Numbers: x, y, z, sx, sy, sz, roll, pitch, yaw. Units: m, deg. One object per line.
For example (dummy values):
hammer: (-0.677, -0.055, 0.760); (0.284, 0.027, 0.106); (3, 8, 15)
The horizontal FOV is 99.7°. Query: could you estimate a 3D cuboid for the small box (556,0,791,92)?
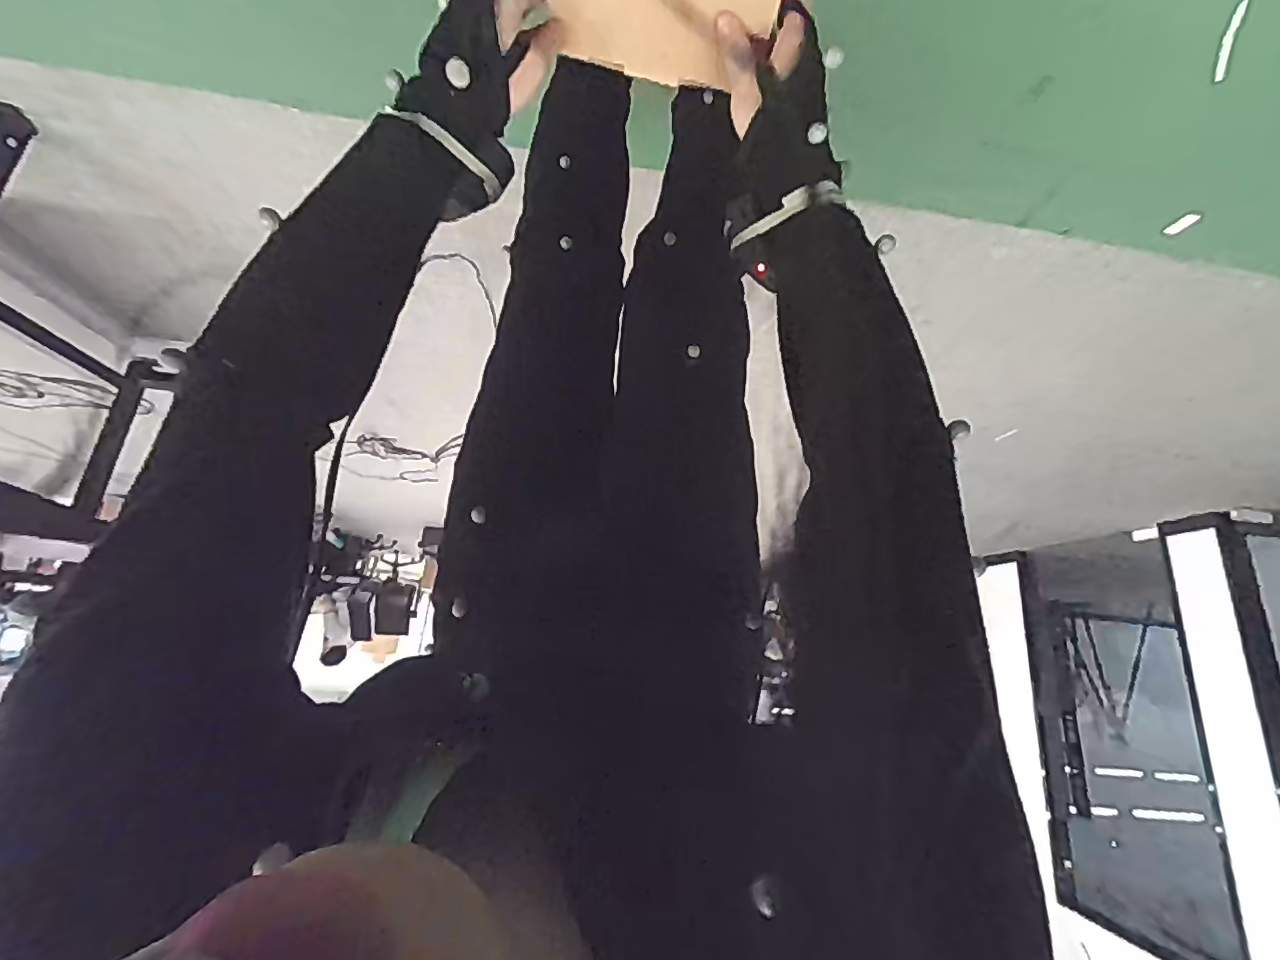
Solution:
small box: (0.036, -0.427, 0.375); (0.168, 0.176, 0.179); (9, 159, -5)
